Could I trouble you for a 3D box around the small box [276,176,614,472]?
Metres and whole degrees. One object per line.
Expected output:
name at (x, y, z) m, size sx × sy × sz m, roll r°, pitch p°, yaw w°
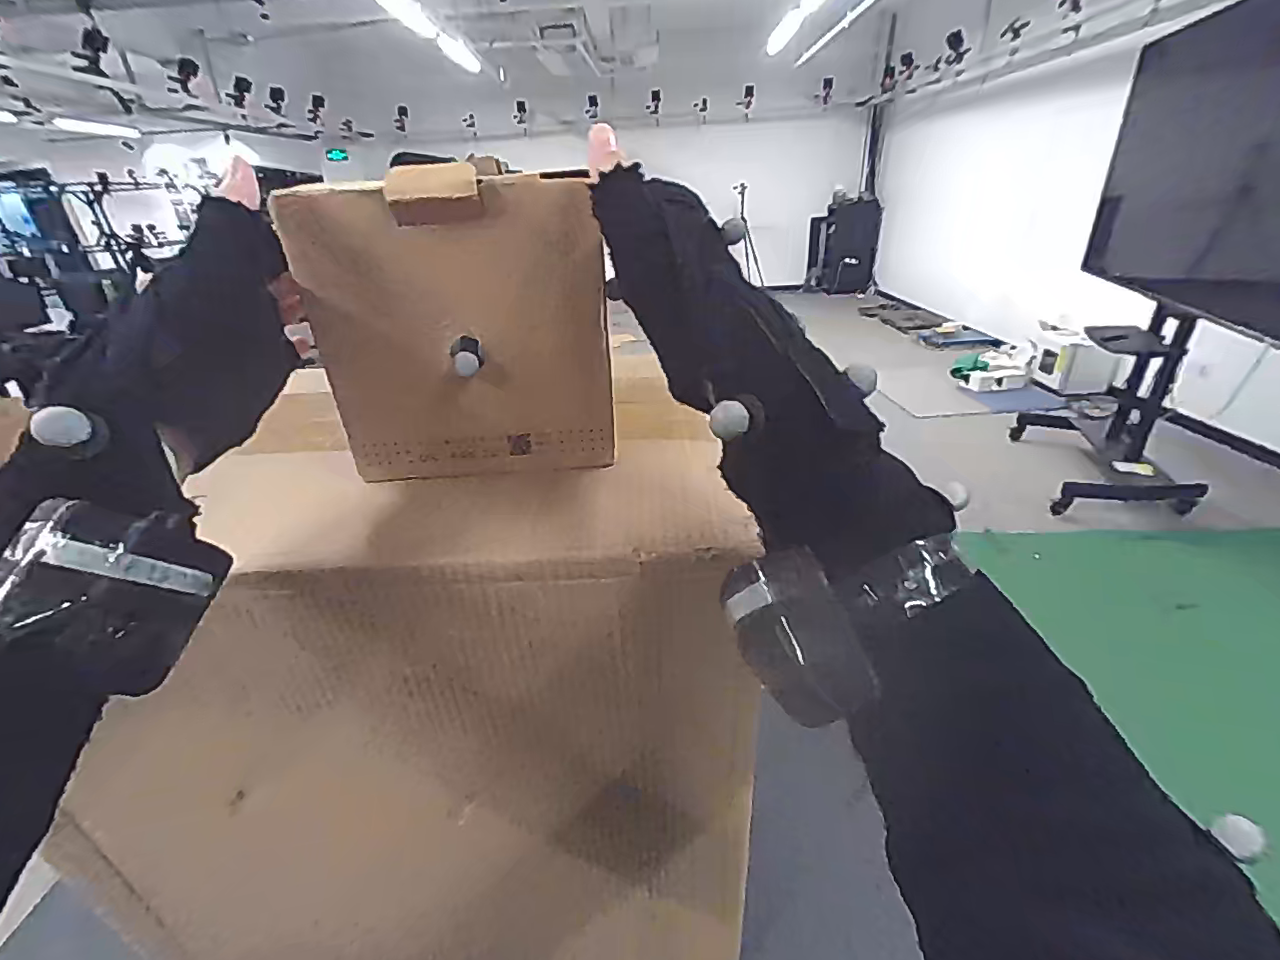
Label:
small box at (-0.108, -0.114, 0.390) m, size 0.168 × 0.176 × 0.179 m, roll -4°, pitch 31°, yaw -2°
